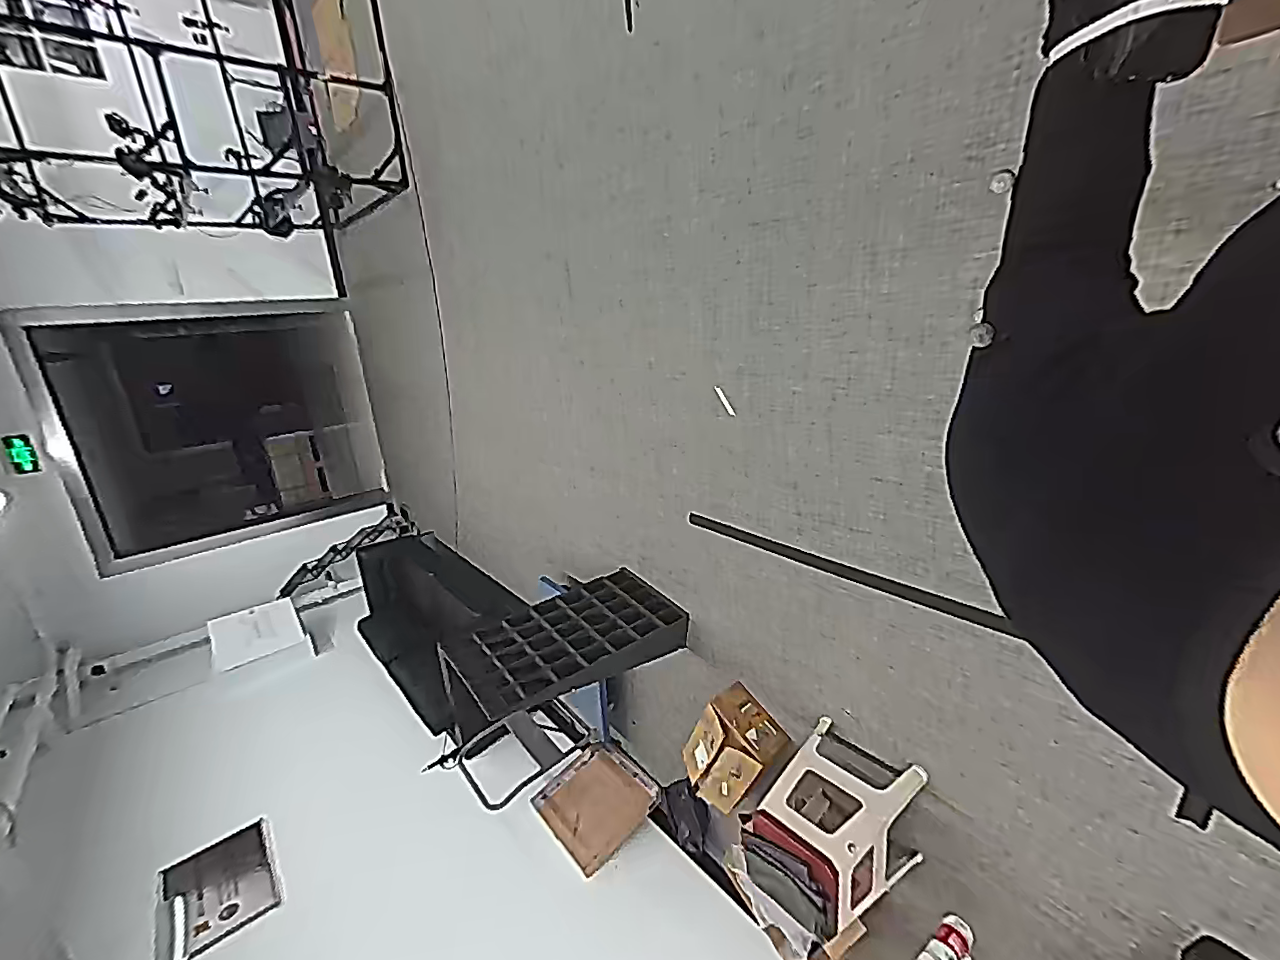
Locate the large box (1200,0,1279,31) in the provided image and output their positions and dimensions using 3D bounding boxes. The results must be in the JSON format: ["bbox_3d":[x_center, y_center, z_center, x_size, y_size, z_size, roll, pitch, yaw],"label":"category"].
[{"bbox_3d":[0.554,-0.500,0.246,0.408,0.320,0.320,10,119,48],"label":"large box"}]
